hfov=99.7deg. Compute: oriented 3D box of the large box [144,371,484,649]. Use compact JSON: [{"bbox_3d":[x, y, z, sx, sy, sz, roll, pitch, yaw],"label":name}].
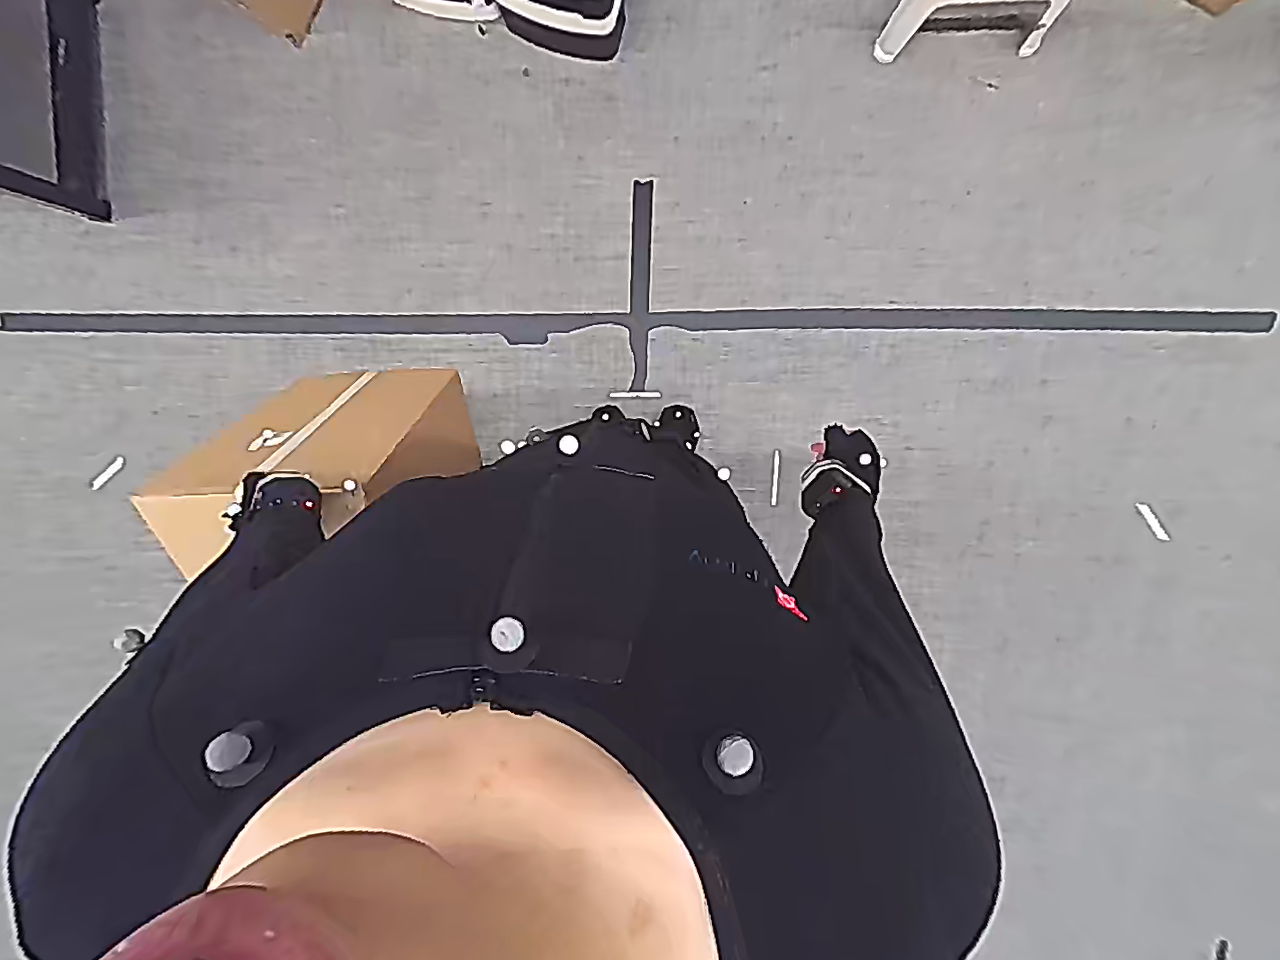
[{"bbox_3d":[-0.496,0.035,0.950,0.320,0.408,0.320,-3,124,3],"label":"large box"}]
